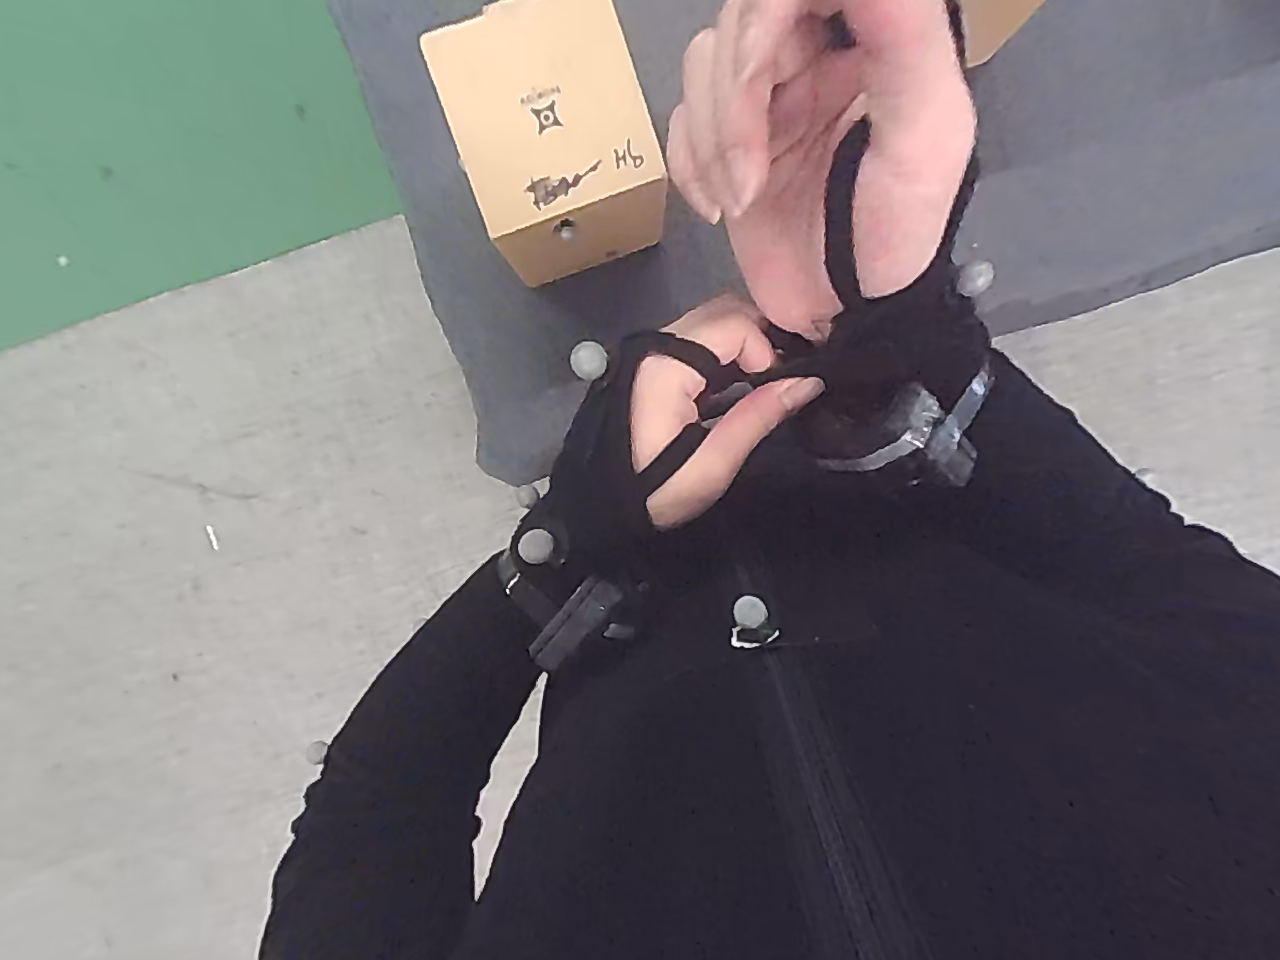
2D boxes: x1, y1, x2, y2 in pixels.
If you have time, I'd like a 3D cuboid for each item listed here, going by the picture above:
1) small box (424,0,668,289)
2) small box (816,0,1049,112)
[{"bbox_3d":[-0.079,-0.317,0.536,0.168,0.176,0.179,-19,95,2],"label":"small box"},{"bbox_3d":[0.282,-0.507,0.518,0.168,0.176,0.179,-19,97,3],"label":"small box"}]
